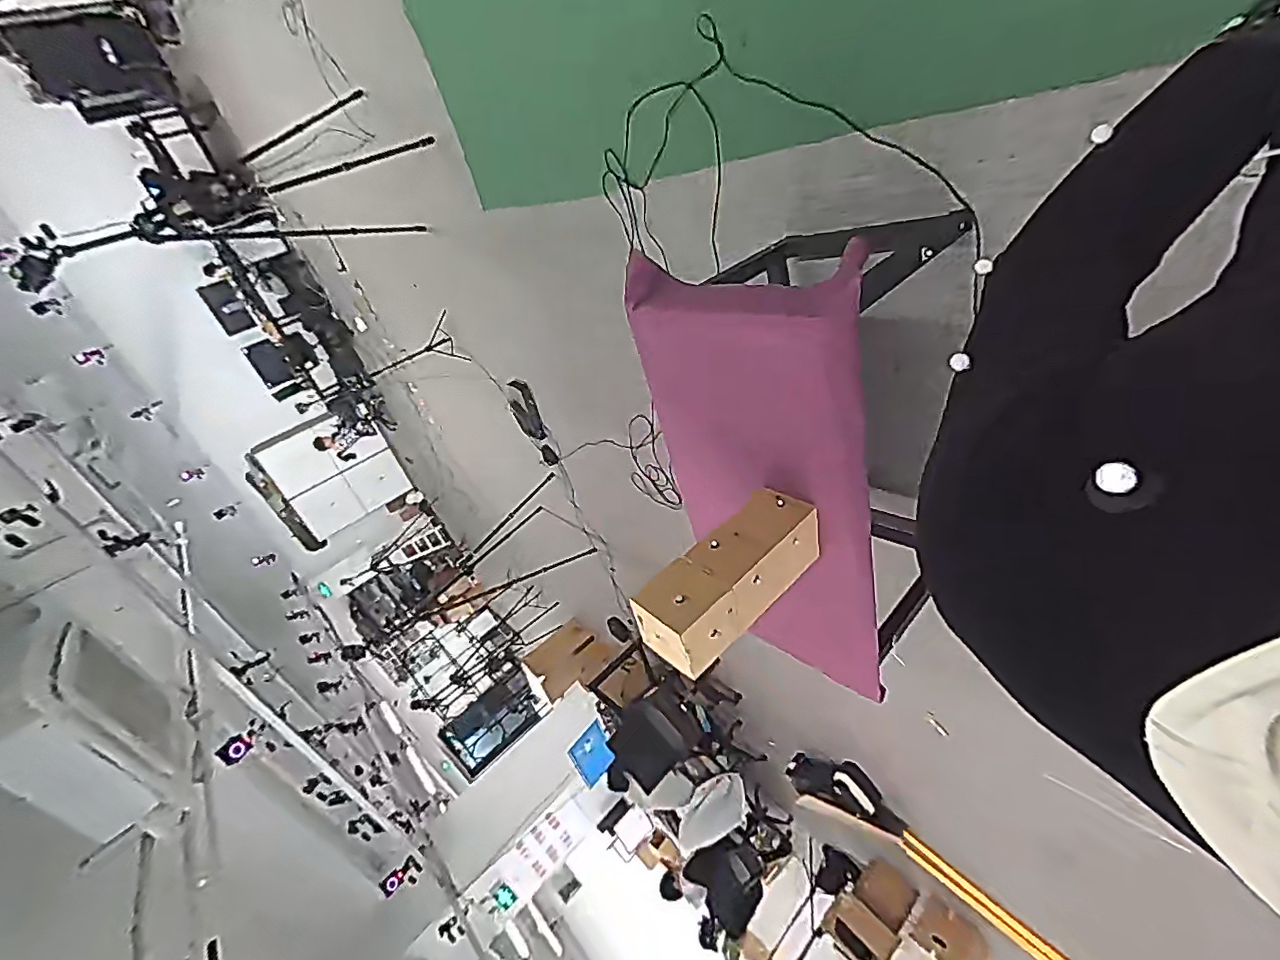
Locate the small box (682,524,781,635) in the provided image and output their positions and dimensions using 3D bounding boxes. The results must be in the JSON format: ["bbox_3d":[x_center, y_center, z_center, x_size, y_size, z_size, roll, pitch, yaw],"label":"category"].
[{"bbox_3d":[0.231,0.238,1.336,0.168,0.176,0.179,26,141,44],"label":"small box"}]

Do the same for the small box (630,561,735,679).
[{"bbox_3d":[0.107,0.318,1.265,0.179,0.176,0.168,25,139,44],"label":"small box"}]
